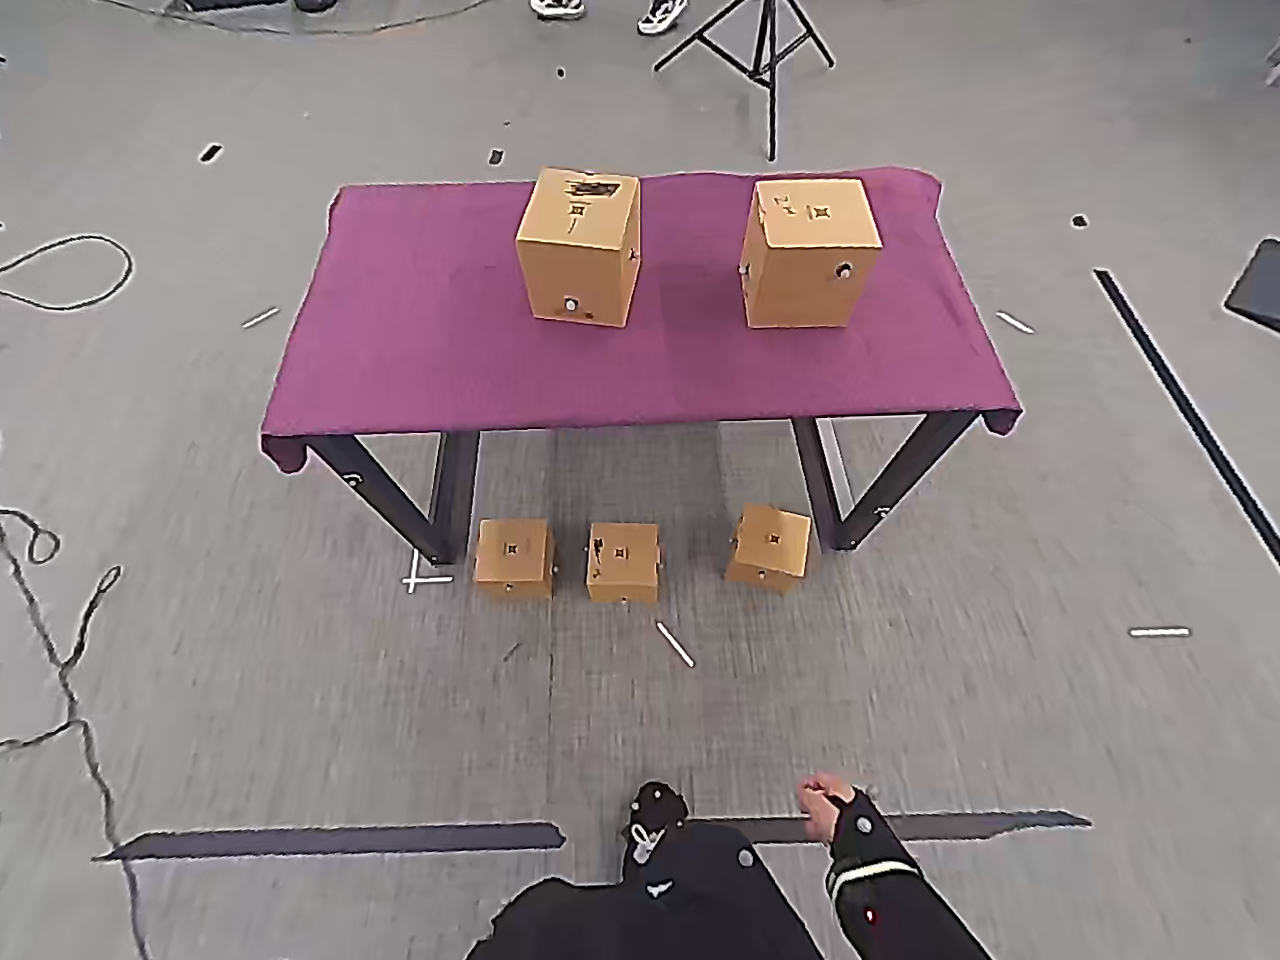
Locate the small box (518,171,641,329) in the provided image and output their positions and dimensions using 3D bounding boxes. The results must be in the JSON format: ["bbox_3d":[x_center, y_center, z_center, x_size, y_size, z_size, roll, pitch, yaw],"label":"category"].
[{"bbox_3d":[-0.093,-0.389,0.922,0.168,0.176,0.179,8,63,5],"label":"small box"}]

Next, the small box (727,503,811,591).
[{"bbox_3d":[0.340,0.185,1.440,0.179,0.176,0.168,12,64,9],"label":"small box"}]

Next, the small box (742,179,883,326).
[{"bbox_3d":[0.277,-0.376,0.910,0.179,0.176,0.168,-1,61,1],"label":"small box"}]

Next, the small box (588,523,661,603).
[{"bbox_3d":[-0.038,0.222,1.424,0.179,0.176,0.168,2,63,1],"label":"small box"}]
